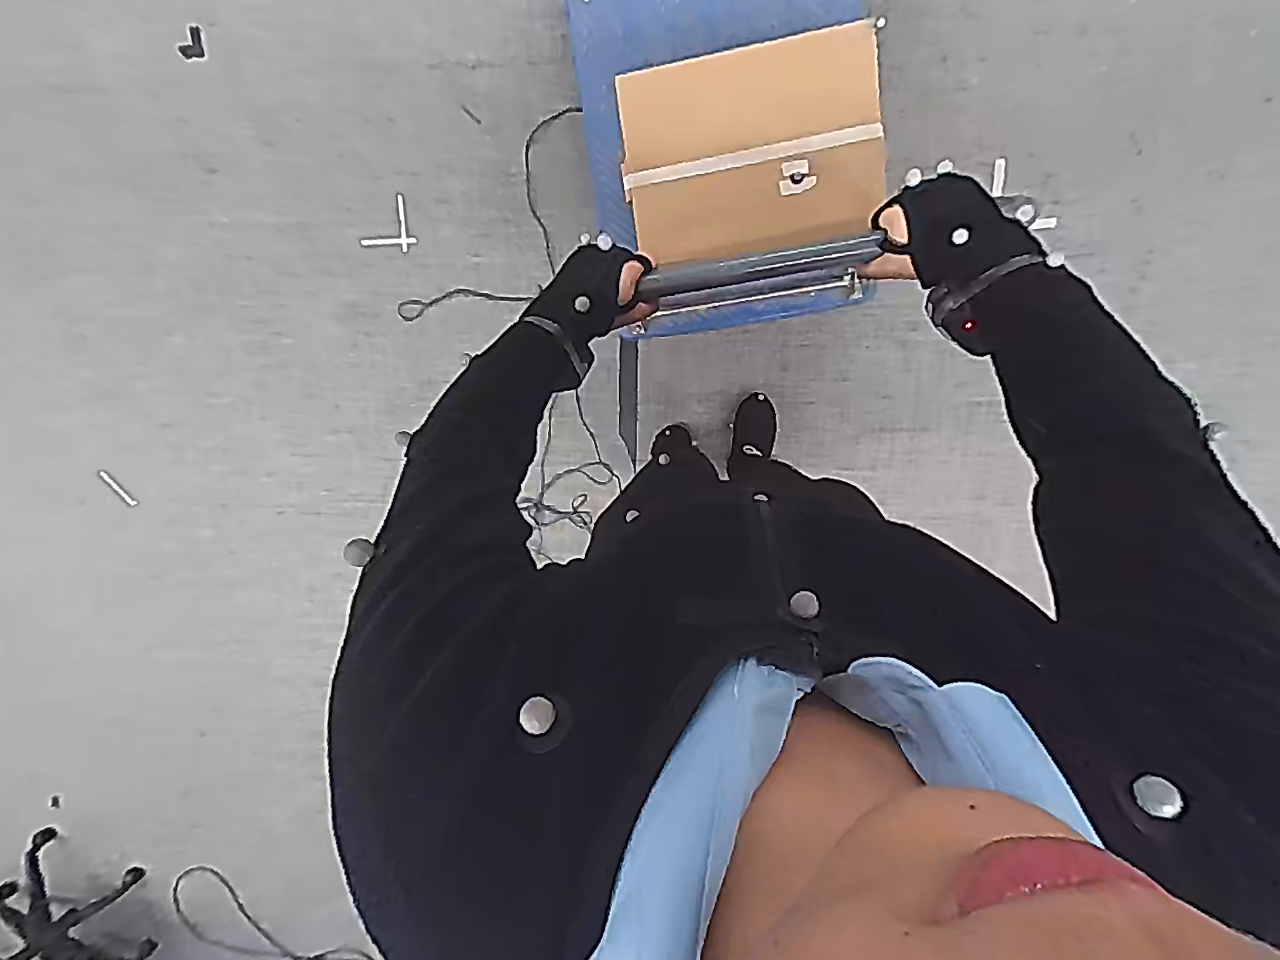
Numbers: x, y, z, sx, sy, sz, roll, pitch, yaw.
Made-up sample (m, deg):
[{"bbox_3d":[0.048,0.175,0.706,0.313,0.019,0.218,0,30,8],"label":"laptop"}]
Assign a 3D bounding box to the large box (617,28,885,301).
[{"bbox_3d":[0.193,-0.543,1.017,0.408,0.320,0.320,-8,103,7],"label":"large box"}]
